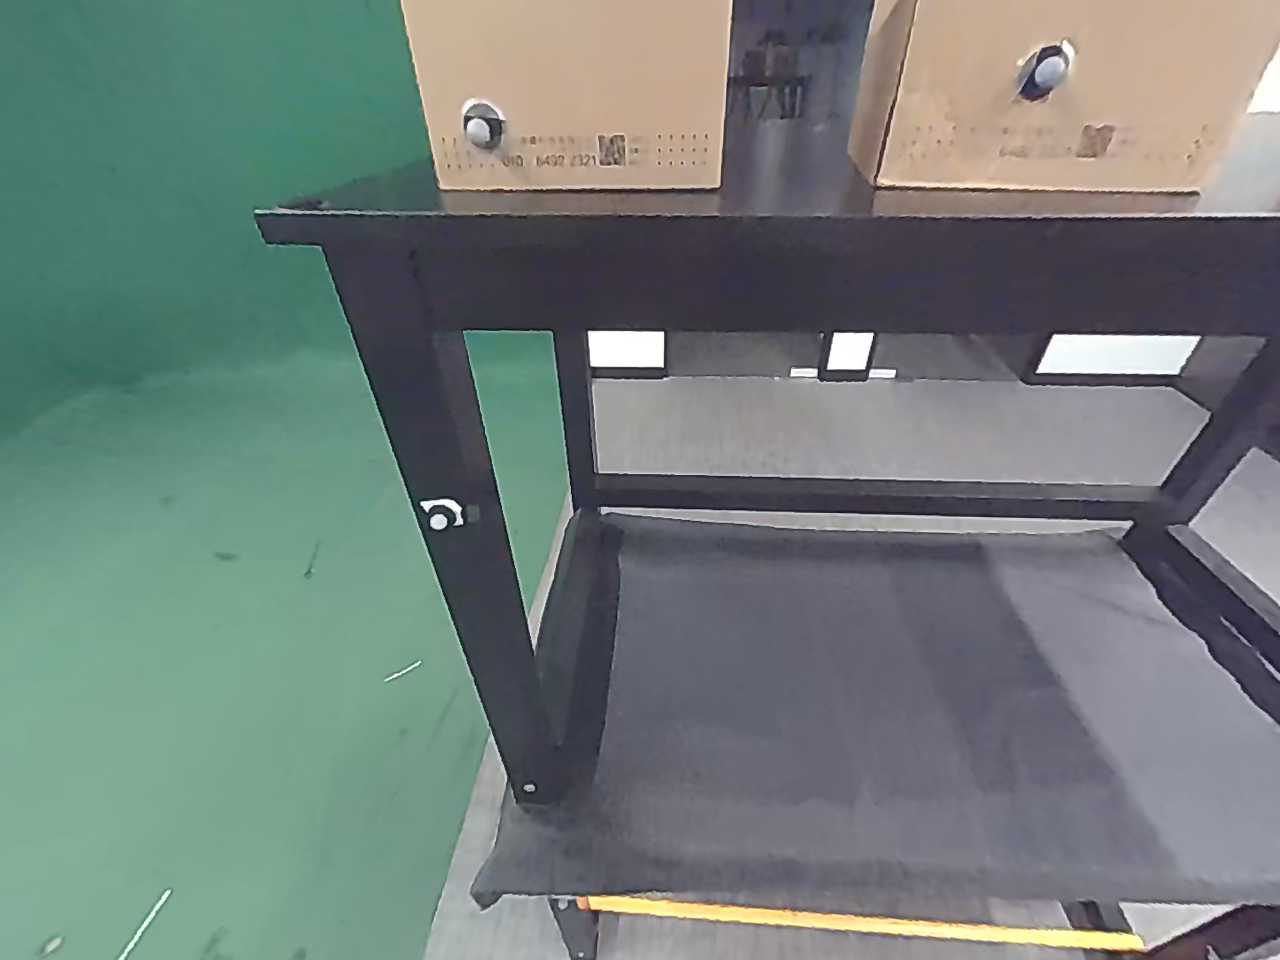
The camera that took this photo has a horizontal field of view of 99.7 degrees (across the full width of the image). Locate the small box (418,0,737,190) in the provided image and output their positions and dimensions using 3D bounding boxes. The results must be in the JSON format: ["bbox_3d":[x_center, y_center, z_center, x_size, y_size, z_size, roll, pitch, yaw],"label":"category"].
[{"bbox_3d":[-0.027,-0.284,0.336,0.168,0.176,0.179,2,35,3],"label":"small box"}]

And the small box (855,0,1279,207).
[{"bbox_3d":[0.237,-0.274,0.323,0.168,0.176,0.179,7,38,10],"label":"small box"}]
